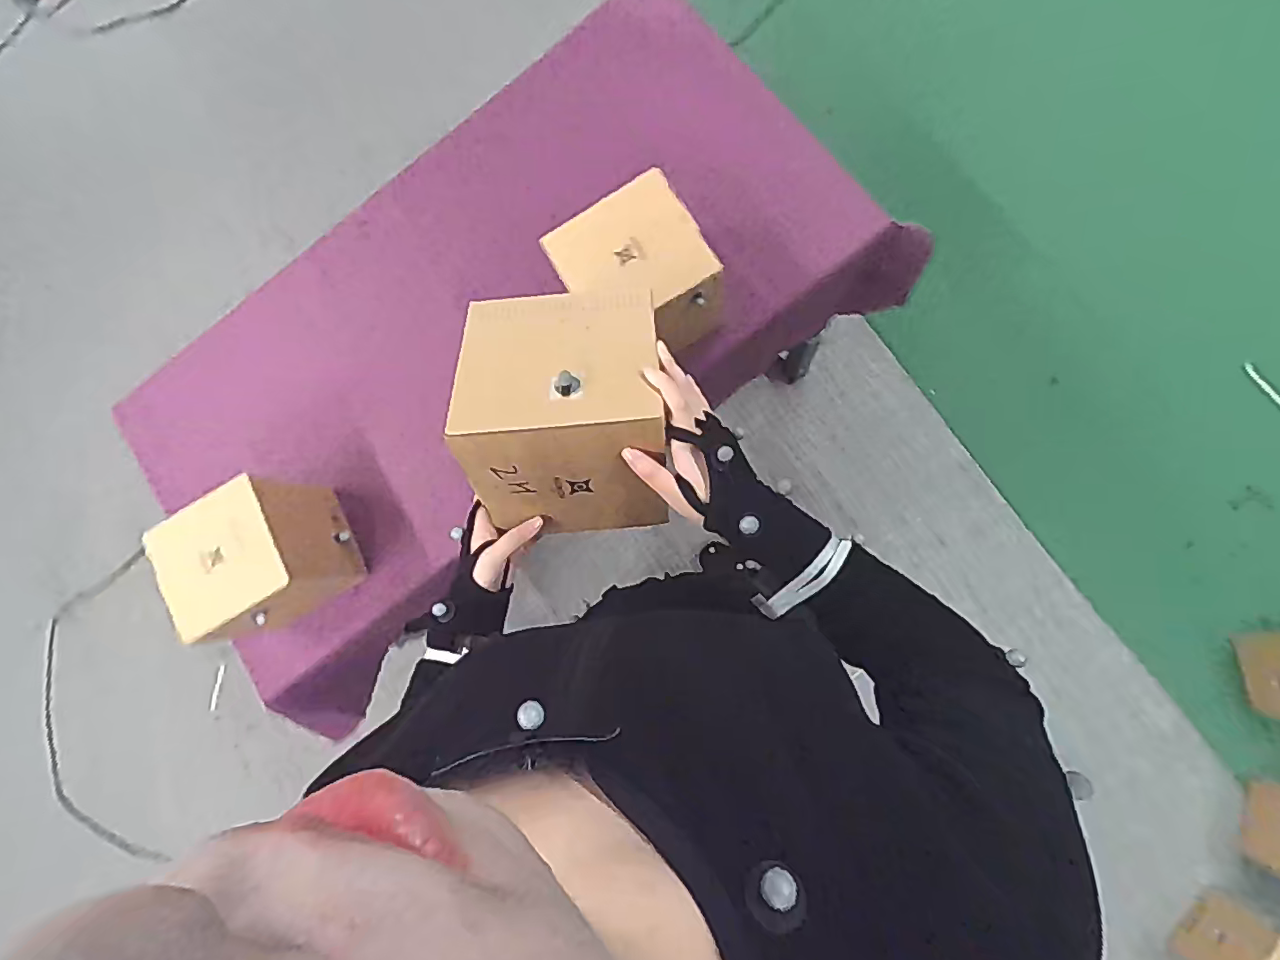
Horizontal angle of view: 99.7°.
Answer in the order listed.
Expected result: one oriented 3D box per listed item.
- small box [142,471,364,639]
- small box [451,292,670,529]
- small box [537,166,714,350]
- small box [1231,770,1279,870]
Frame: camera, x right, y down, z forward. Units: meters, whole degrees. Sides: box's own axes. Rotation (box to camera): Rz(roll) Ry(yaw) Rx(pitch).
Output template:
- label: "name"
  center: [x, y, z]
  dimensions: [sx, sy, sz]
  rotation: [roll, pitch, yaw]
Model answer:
- label: "small box"
  center: [-0.551, 0.108, 0.789]
  dimensions: [0.179, 0.176, 0.168]
  rotation: [-29, 81, 4]
- label: "small box"
  center: [-0.065, -0.066, 0.532]
  dimensions: [0.179, 0.168, 0.176]
  rotation: [-3, 56, 1]
- label: "small box"
  center: [-0.008, -0.275, 0.749]
  dimensions: [0.179, 0.176, 0.168]
  rotation: [-30, 80, 4]
- label: "small box"
  center: [1.434, 0.755, 1.154]
  dimensions: [0.168, 0.176, 0.179]
  rotation: [12, 87, 9]
